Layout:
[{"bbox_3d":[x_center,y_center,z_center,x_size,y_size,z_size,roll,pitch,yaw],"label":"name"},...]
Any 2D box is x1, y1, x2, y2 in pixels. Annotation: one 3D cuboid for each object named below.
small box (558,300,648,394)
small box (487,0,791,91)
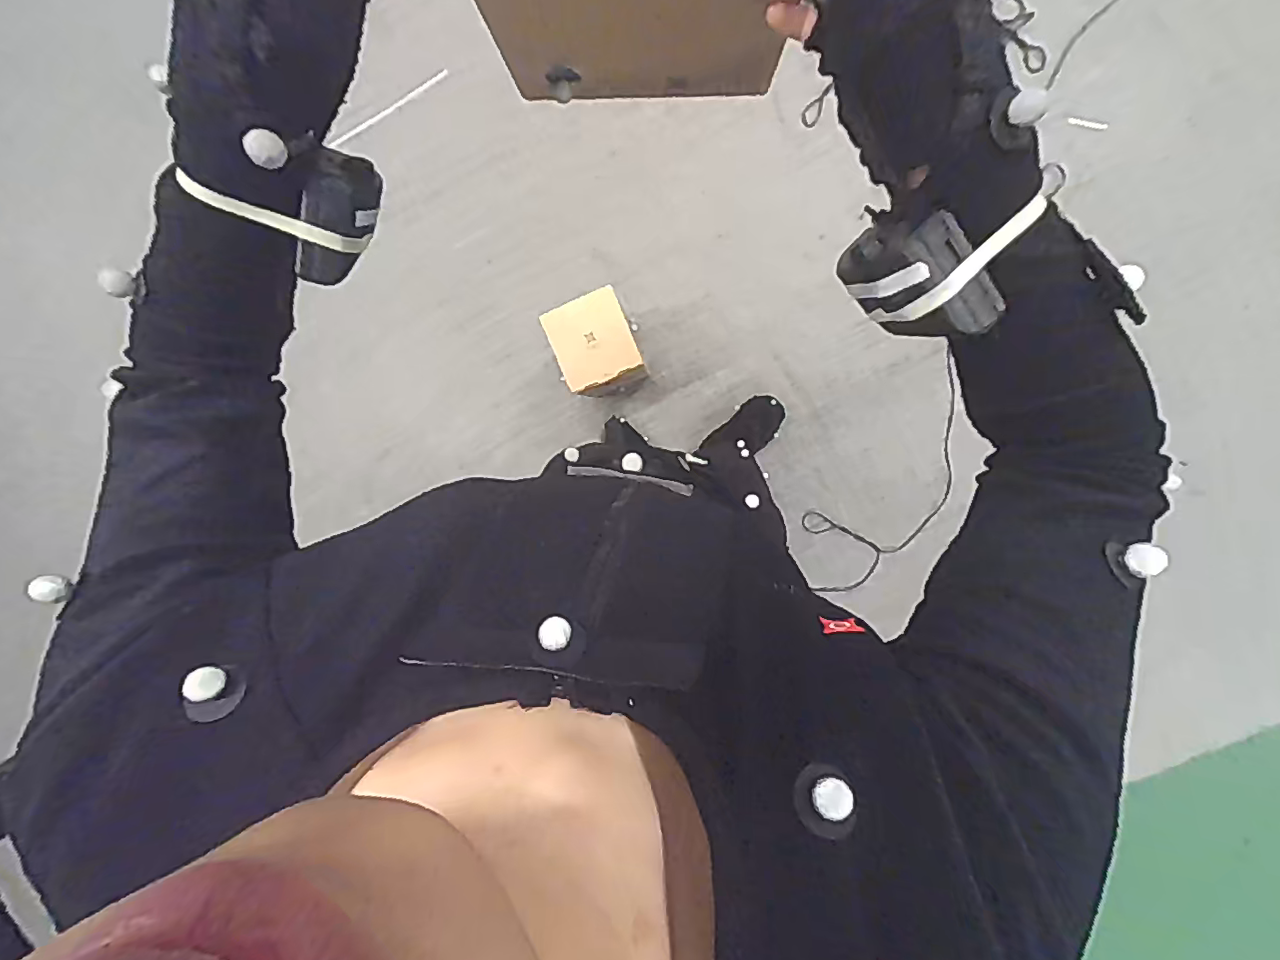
[{"bbox_3d":[-0.086,-0.327,1.362,0.168,0.176,0.179,-21,96,6],"label":"small box"},{"bbox_3d":[0.001,-0.330,0.274,0.168,0.176,0.179,0,100,2],"label":"small box"}]
